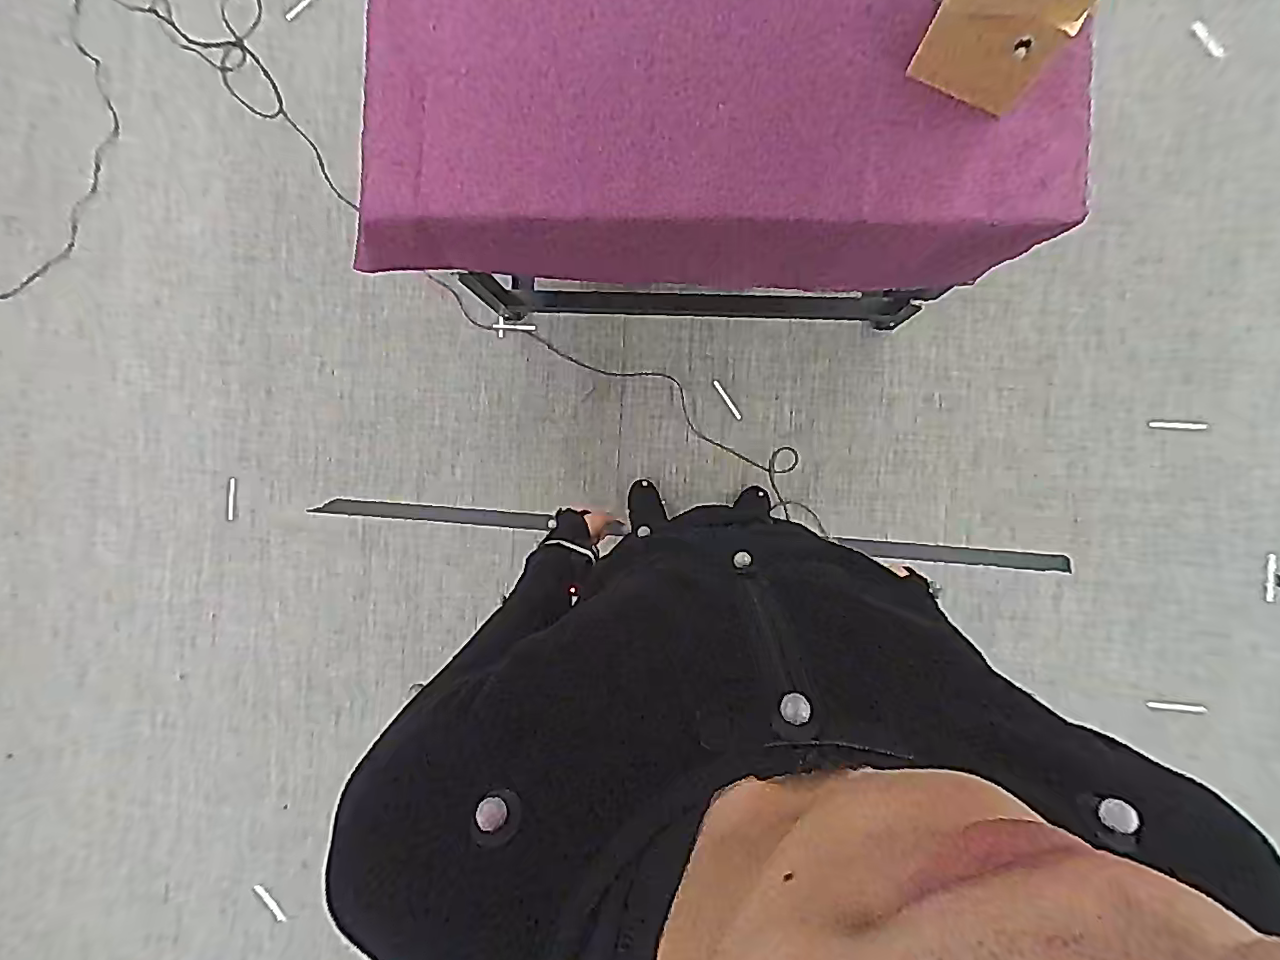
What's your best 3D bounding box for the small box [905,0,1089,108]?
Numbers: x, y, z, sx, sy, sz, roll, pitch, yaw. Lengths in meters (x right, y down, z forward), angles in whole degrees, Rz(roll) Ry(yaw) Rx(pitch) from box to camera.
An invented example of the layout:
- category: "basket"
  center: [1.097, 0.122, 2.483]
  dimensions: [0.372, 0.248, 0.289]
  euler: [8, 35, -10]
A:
- category: "small box"
  center: [0.536, -0.698, 0.796]
  dimensions: [0.179, 0.176, 0.168]
  euler: [28, 92, 4]
